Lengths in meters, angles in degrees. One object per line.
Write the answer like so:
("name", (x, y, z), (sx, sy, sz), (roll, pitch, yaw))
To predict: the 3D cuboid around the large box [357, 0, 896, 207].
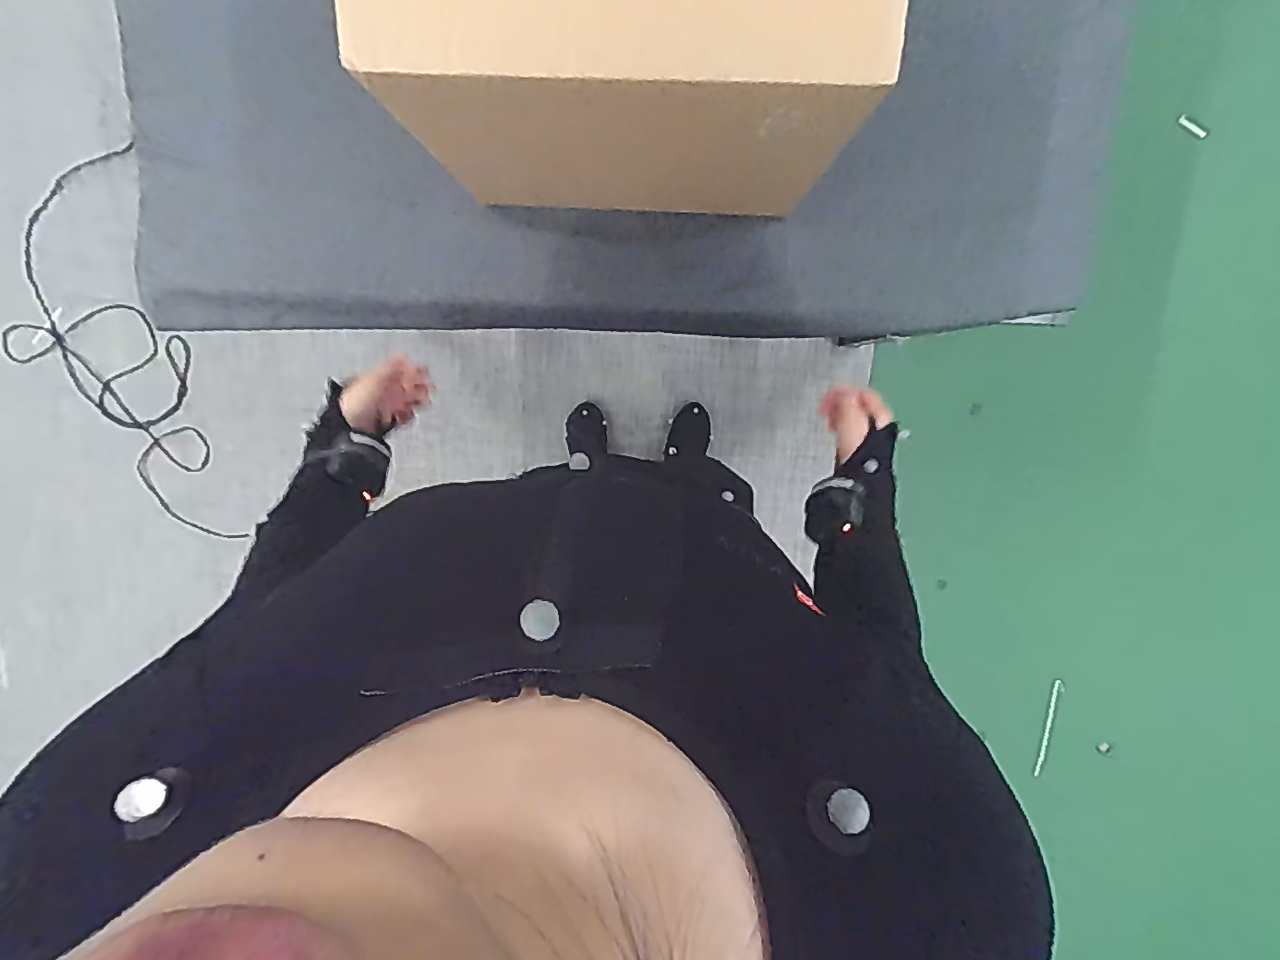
("large box", (-0.008, -0.476, 0.524), (0.408, 0.320, 0.320), (2, 101, 1))
